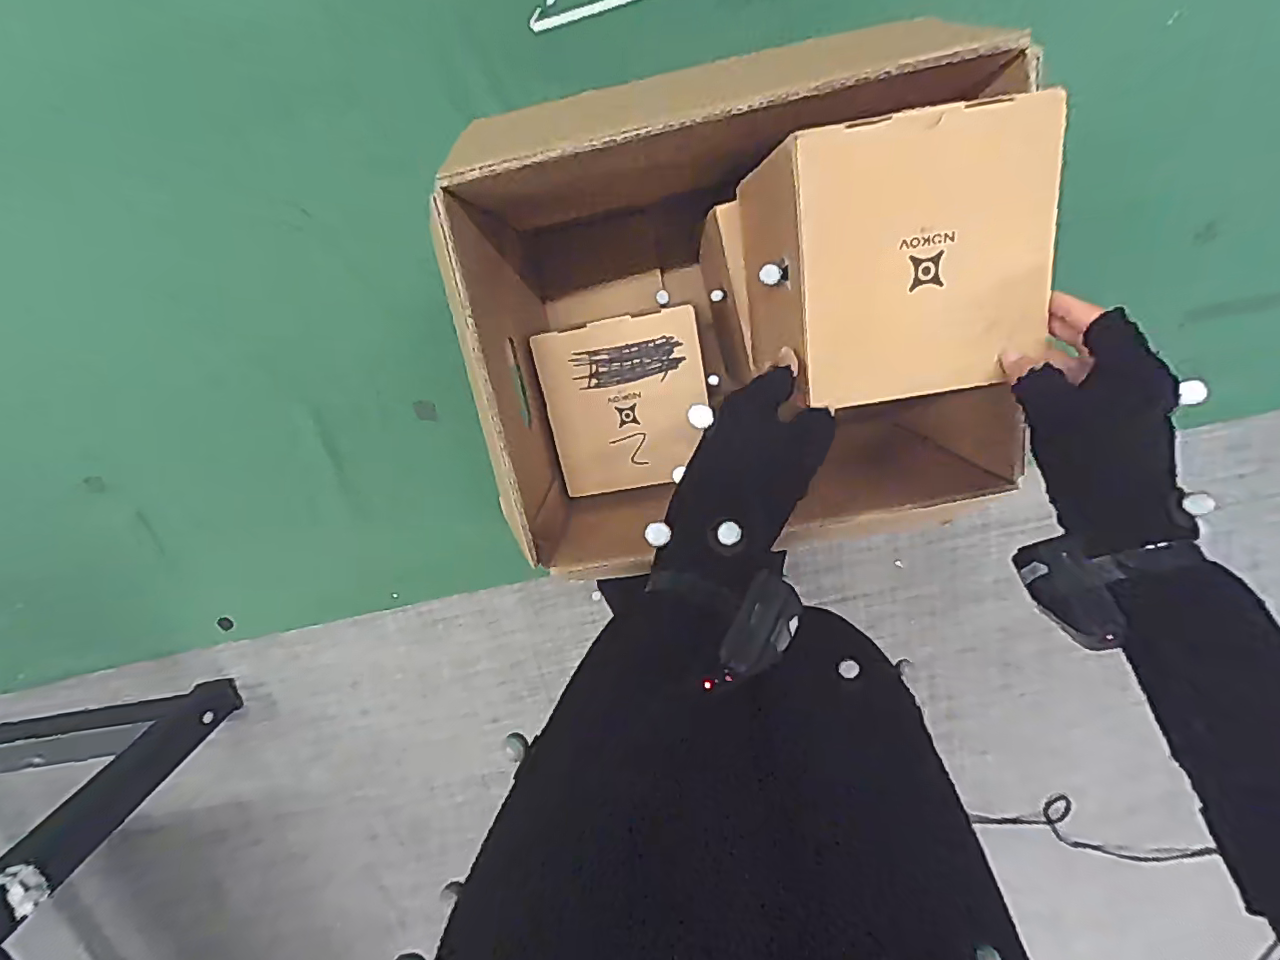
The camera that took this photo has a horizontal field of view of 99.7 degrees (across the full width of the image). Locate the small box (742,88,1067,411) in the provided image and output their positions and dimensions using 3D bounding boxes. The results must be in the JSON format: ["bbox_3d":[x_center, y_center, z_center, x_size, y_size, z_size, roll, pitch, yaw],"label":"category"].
[{"bbox_3d":[0.182,-0.164,0.423,0.168,0.176,0.179,-9,107,1],"label":"small box"}]
